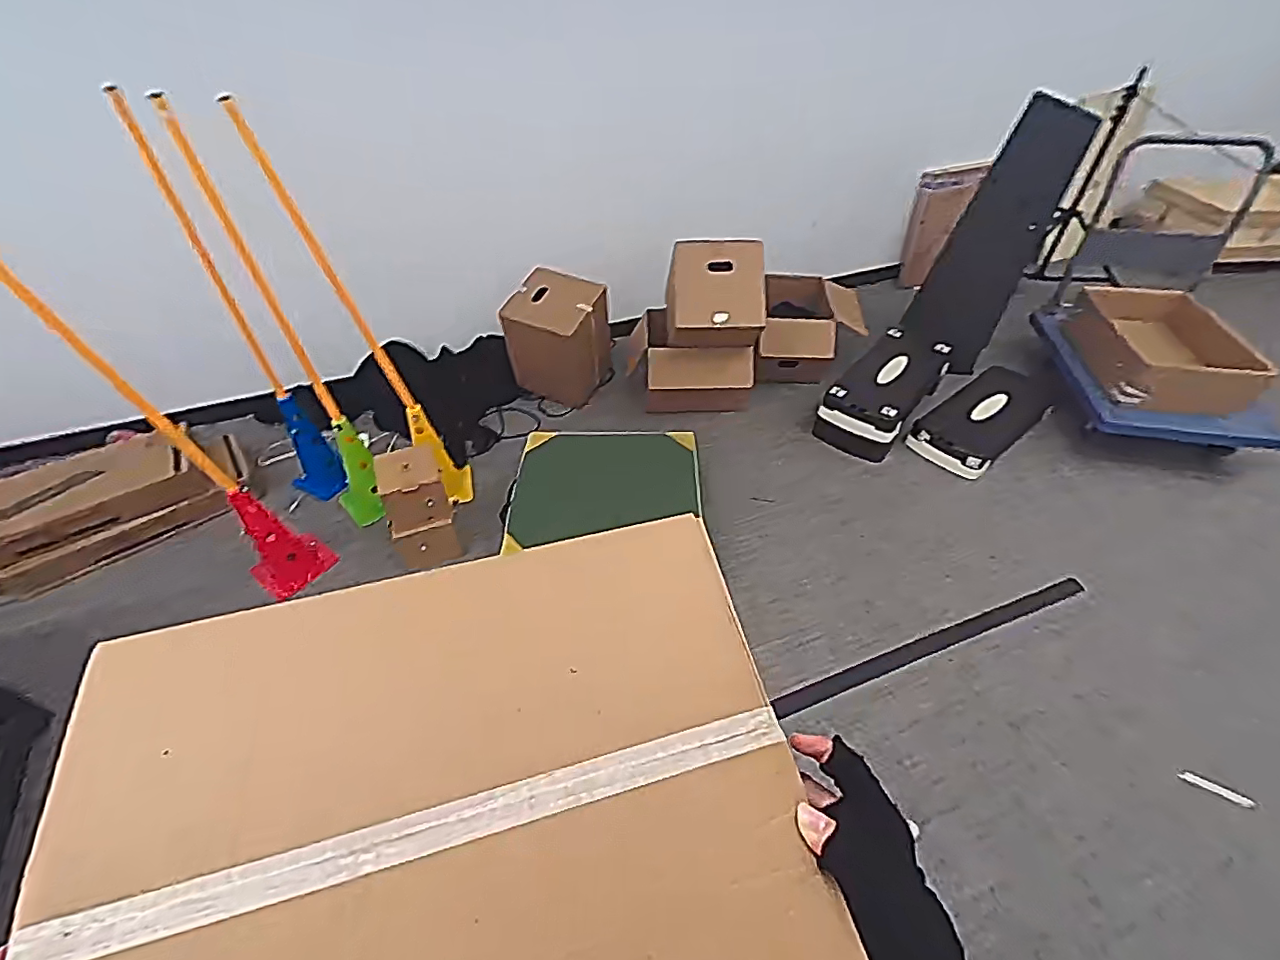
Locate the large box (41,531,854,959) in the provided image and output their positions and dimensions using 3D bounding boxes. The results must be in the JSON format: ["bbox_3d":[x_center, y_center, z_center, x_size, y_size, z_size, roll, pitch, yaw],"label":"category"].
[{"bbox_3d":[-0.113,0.283,0.431,0.408,0.320,0.320,-11,57,-10],"label":"large box"}]
